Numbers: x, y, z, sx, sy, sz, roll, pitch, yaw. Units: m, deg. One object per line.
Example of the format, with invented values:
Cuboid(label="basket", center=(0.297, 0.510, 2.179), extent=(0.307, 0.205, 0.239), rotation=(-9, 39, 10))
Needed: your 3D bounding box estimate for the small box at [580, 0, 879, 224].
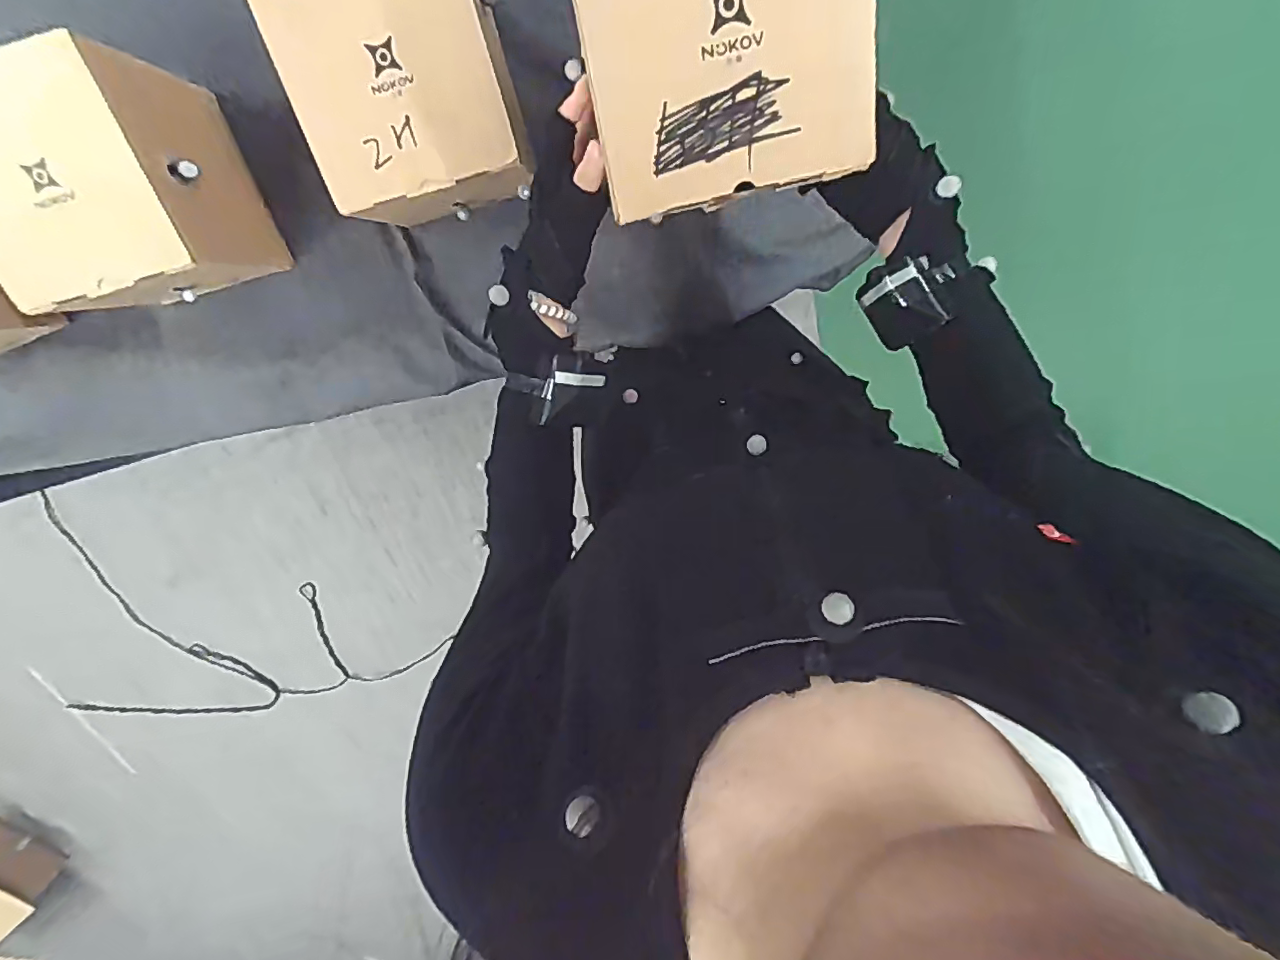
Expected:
Cuboid(label="small box", center=(0.049, -0.293, 0.375), extent=(0.168, 0.176, 0.179), rotation=(-11, 118, 3))

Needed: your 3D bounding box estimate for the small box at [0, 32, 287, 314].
Cuboid(label="small box", center=(-0.490, -0.271, 0.514), extent=(0.168, 0.176, 0.179), rotation=(-15, 113, 1))

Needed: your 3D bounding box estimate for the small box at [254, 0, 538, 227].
Cuboid(label="small box", center=(-0.203, -0.351, 0.502), extent=(0.168, 0.176, 0.179), rotation=(-14, 112, 1))
